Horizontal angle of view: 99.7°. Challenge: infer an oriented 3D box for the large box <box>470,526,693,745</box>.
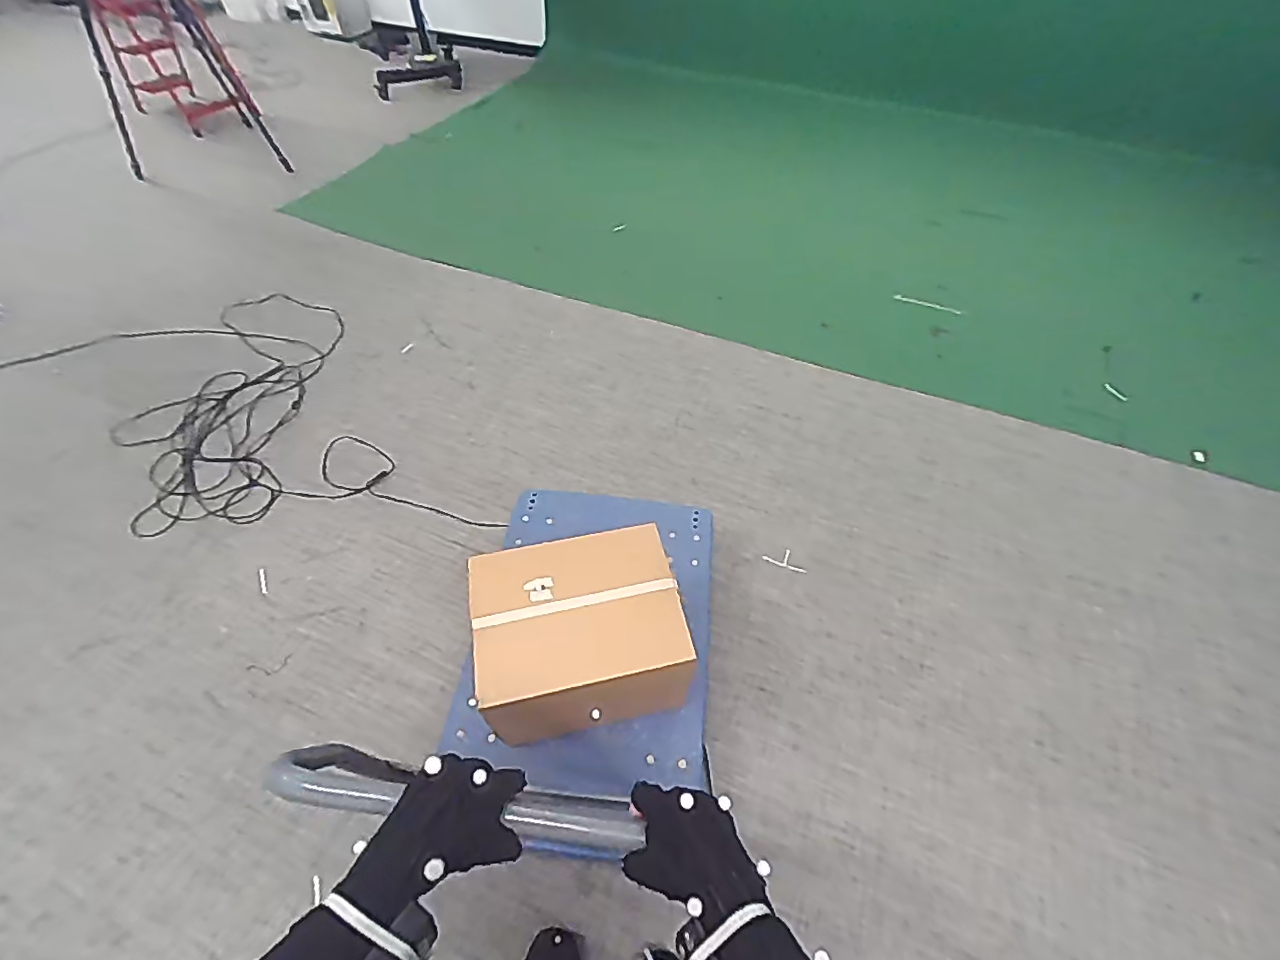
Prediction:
[{"bbox_3d":[-0.128,0.344,1.188,0.408,0.320,0.320,-11,52,-9],"label":"large box"}]
